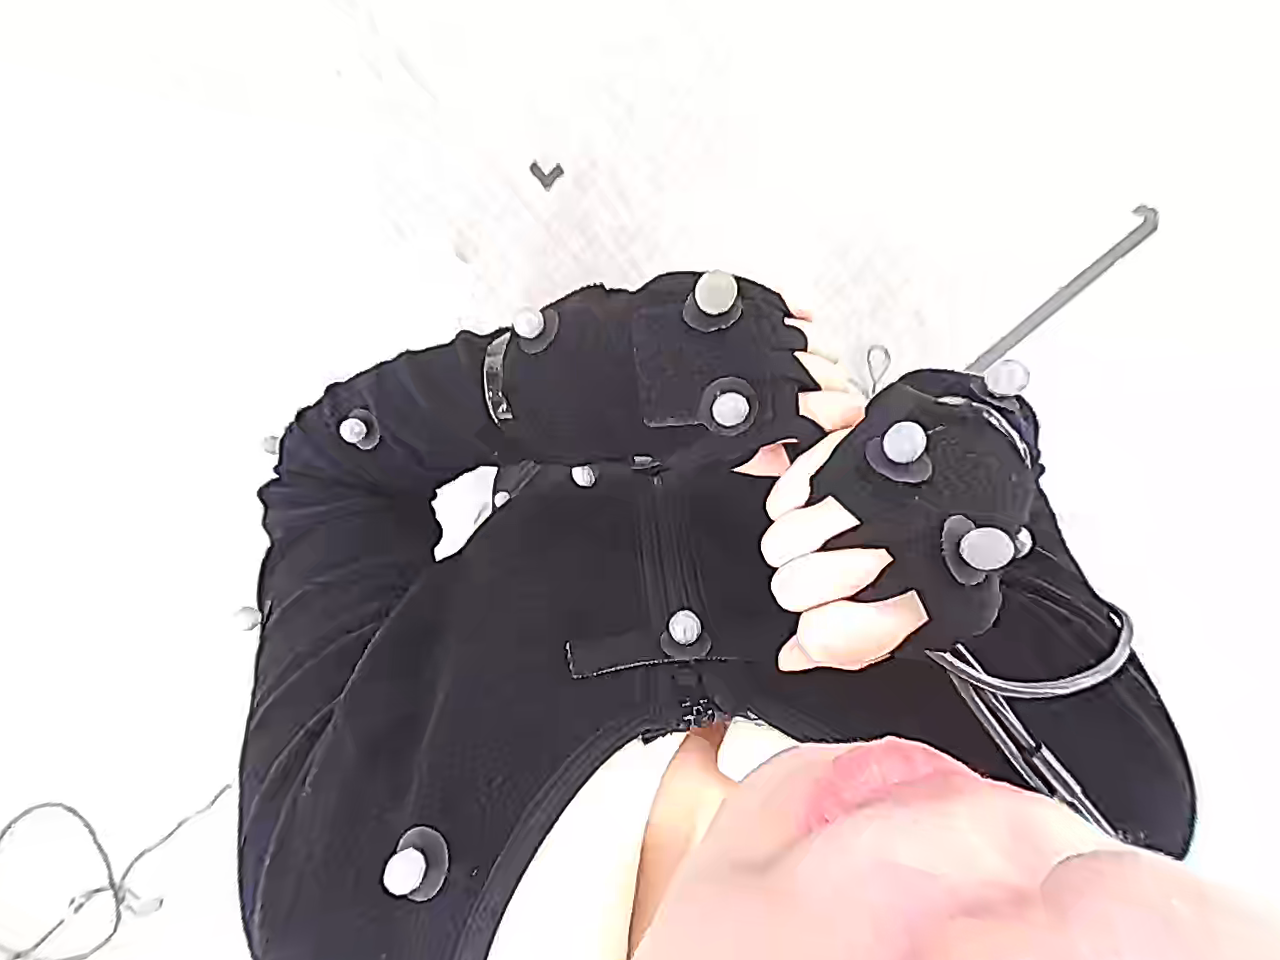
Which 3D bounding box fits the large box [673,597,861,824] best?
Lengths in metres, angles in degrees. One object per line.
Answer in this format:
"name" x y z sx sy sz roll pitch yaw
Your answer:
"large box" 0.281 0.539 1.316 0.320 0.320 0.408 8 103 -7
